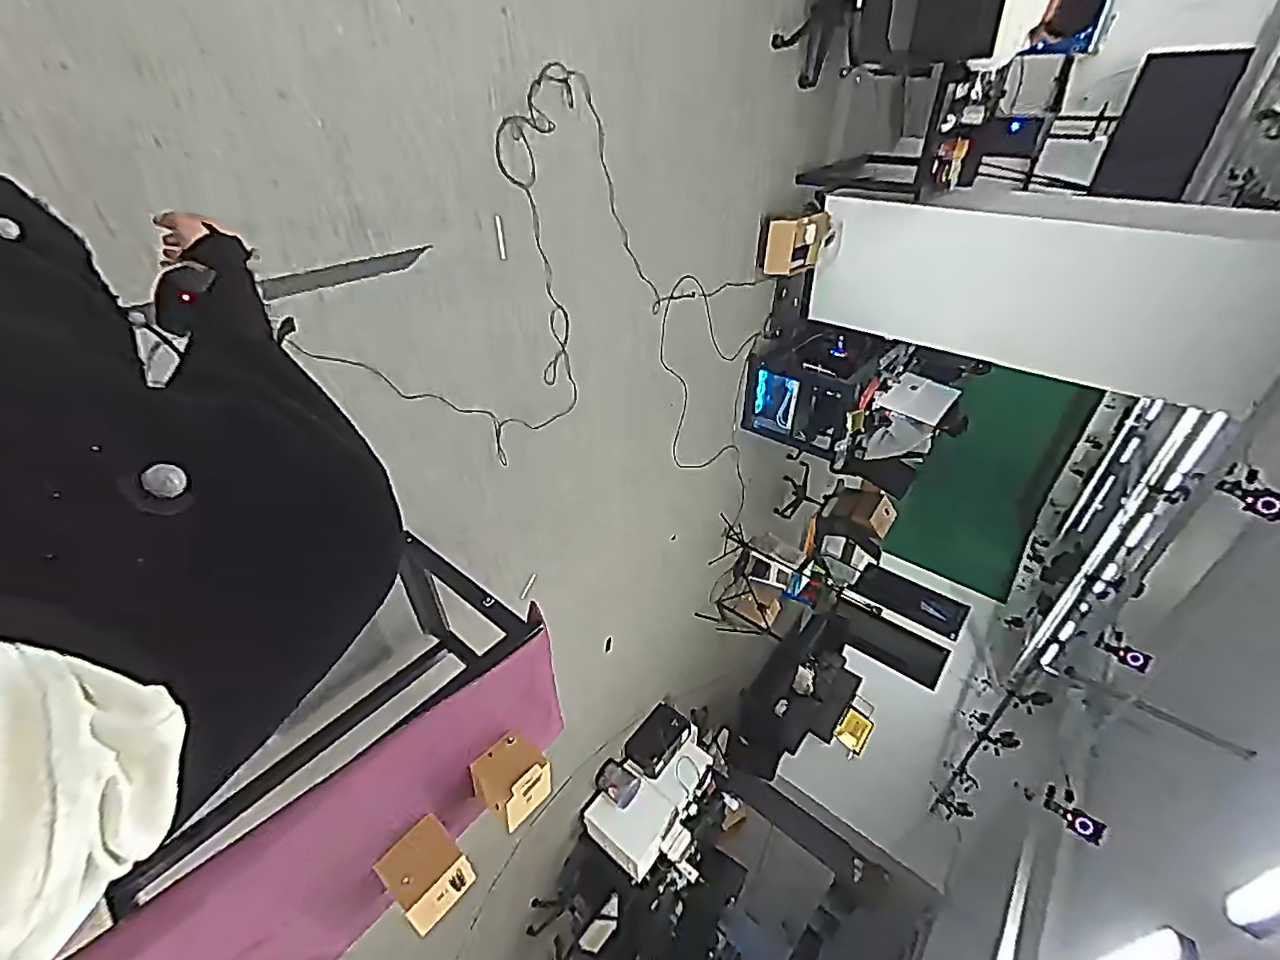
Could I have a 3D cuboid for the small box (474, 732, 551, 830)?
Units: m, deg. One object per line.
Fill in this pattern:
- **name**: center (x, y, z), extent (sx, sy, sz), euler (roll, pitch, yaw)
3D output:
- **small box**: center (-0.392, 0.913, 1.660), extent (0.168, 0.176, 0.179), euler (-30, 135, -42)
